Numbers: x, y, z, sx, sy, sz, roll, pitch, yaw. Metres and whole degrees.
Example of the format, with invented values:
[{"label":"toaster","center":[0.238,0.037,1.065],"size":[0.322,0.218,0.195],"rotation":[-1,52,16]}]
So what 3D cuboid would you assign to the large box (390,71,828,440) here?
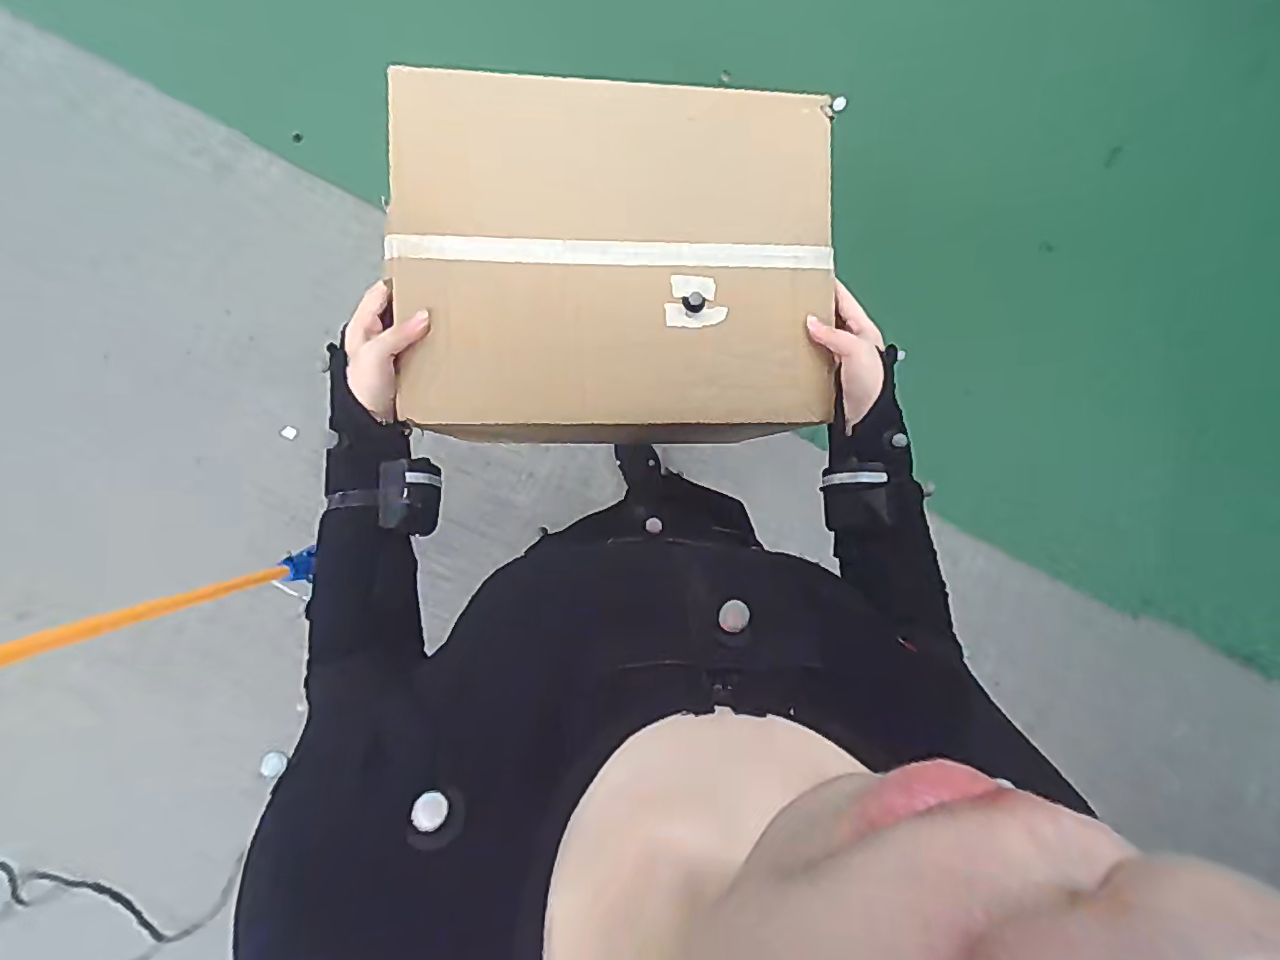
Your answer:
[{"label":"large box","center":[-0.039,-0.219,0.650],"size":[0.408,0.320,0.320],"rotation":[-2,91,-8]}]

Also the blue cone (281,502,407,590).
[{"label":"blue cone","center":[-0.715,0.167,1.245],"size":[0.193,0.380,0.192],"rotation":[36,84,-4]}]
